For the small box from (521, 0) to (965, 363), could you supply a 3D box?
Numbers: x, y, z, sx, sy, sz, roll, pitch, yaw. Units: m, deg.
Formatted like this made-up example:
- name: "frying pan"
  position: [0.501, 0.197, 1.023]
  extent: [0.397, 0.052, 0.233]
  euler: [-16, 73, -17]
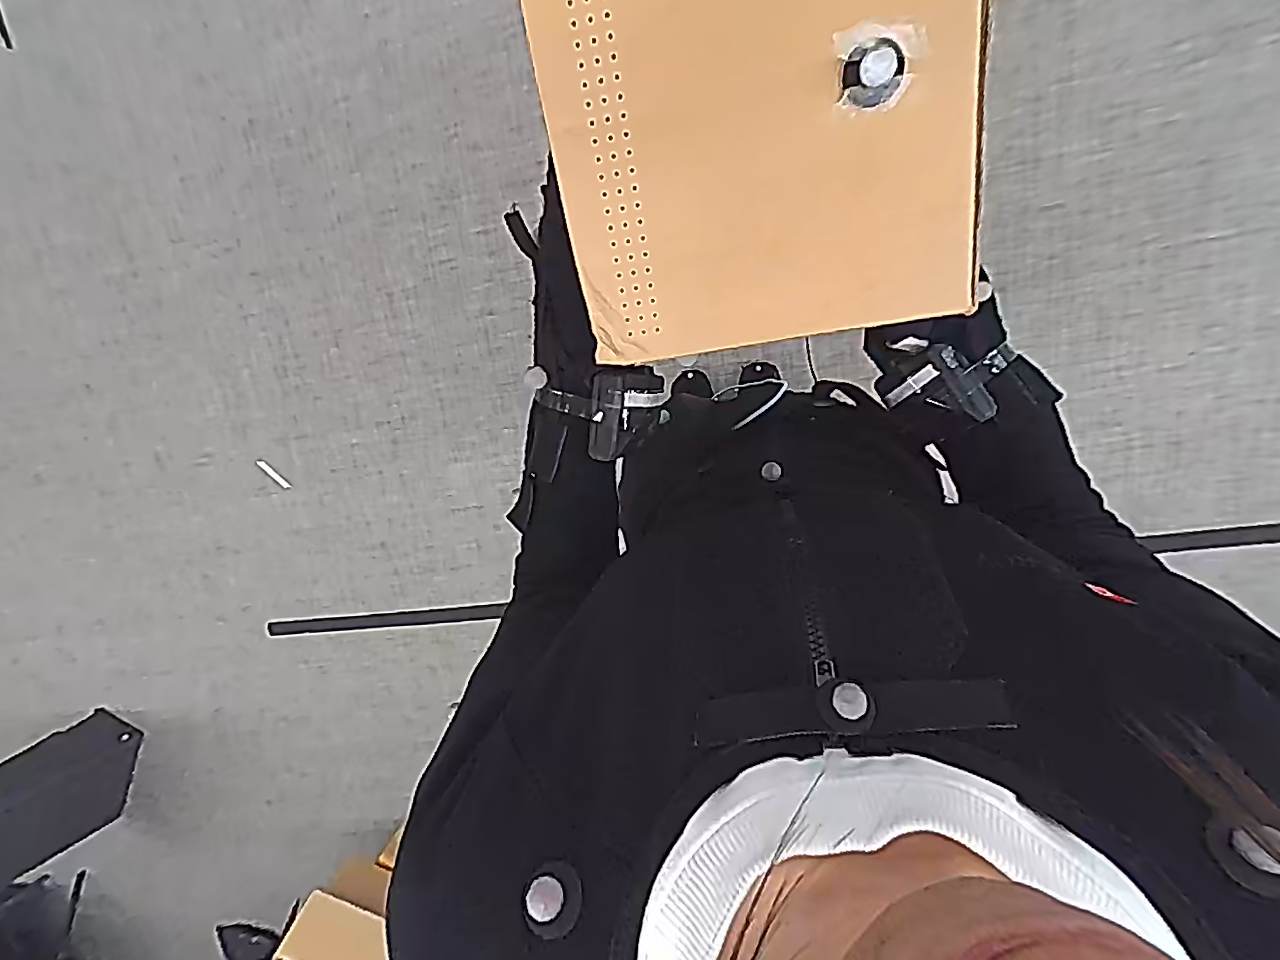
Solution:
- name: "small box"
  position: [0.049, -0.176, 0.293]
  extent: [0.176, 0.168, 0.179]
  euler: [-7, 112, 10]
